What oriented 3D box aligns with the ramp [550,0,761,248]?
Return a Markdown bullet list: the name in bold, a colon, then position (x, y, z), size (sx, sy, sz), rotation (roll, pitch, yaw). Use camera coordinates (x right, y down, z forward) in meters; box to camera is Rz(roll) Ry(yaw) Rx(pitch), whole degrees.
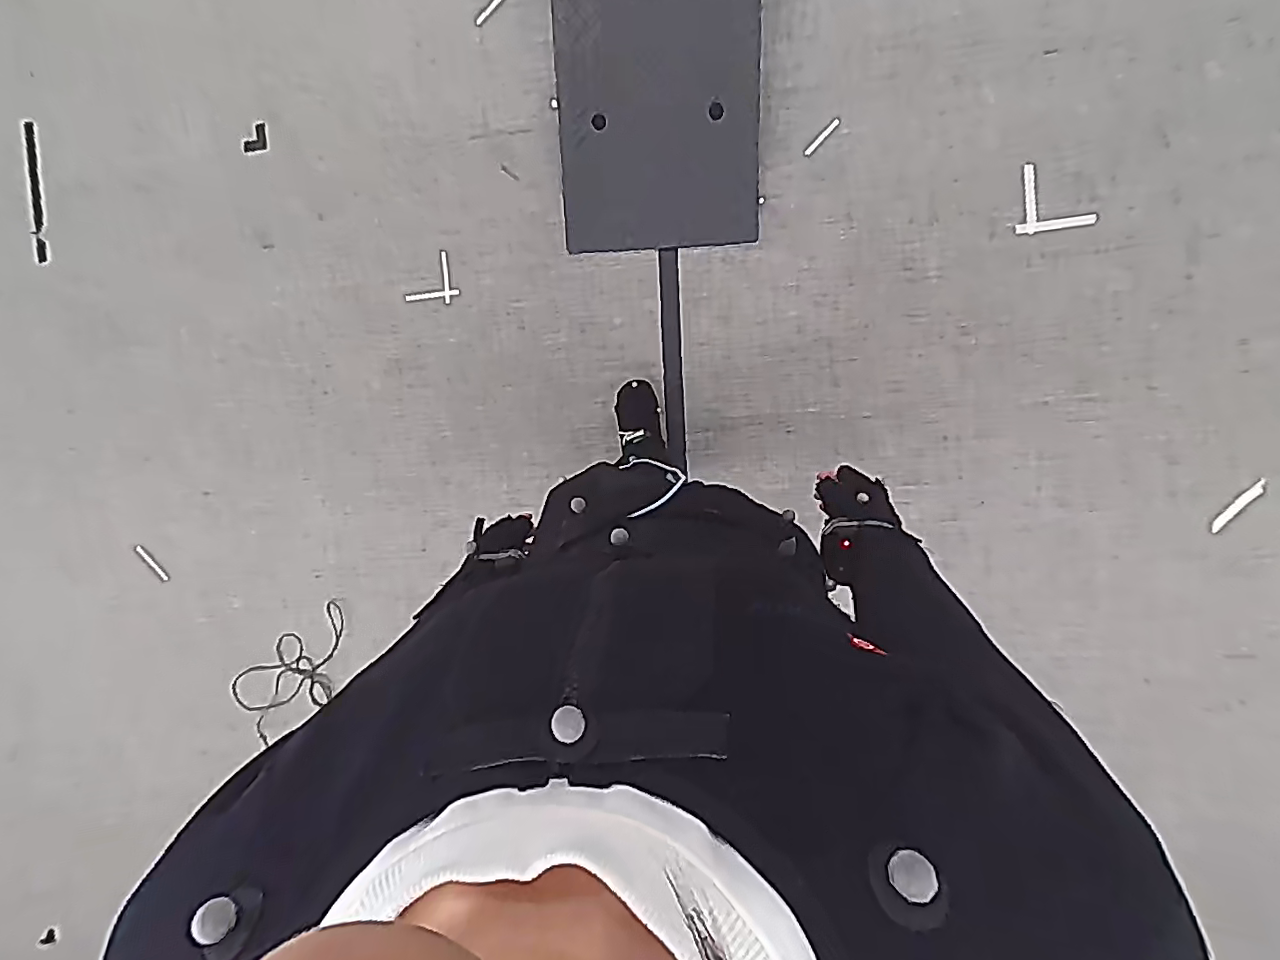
- **ramp**: position (0.033, -1.089, 1.252), size (0.509, 0.206, 0.991), rotation (-2, 95, 6)
